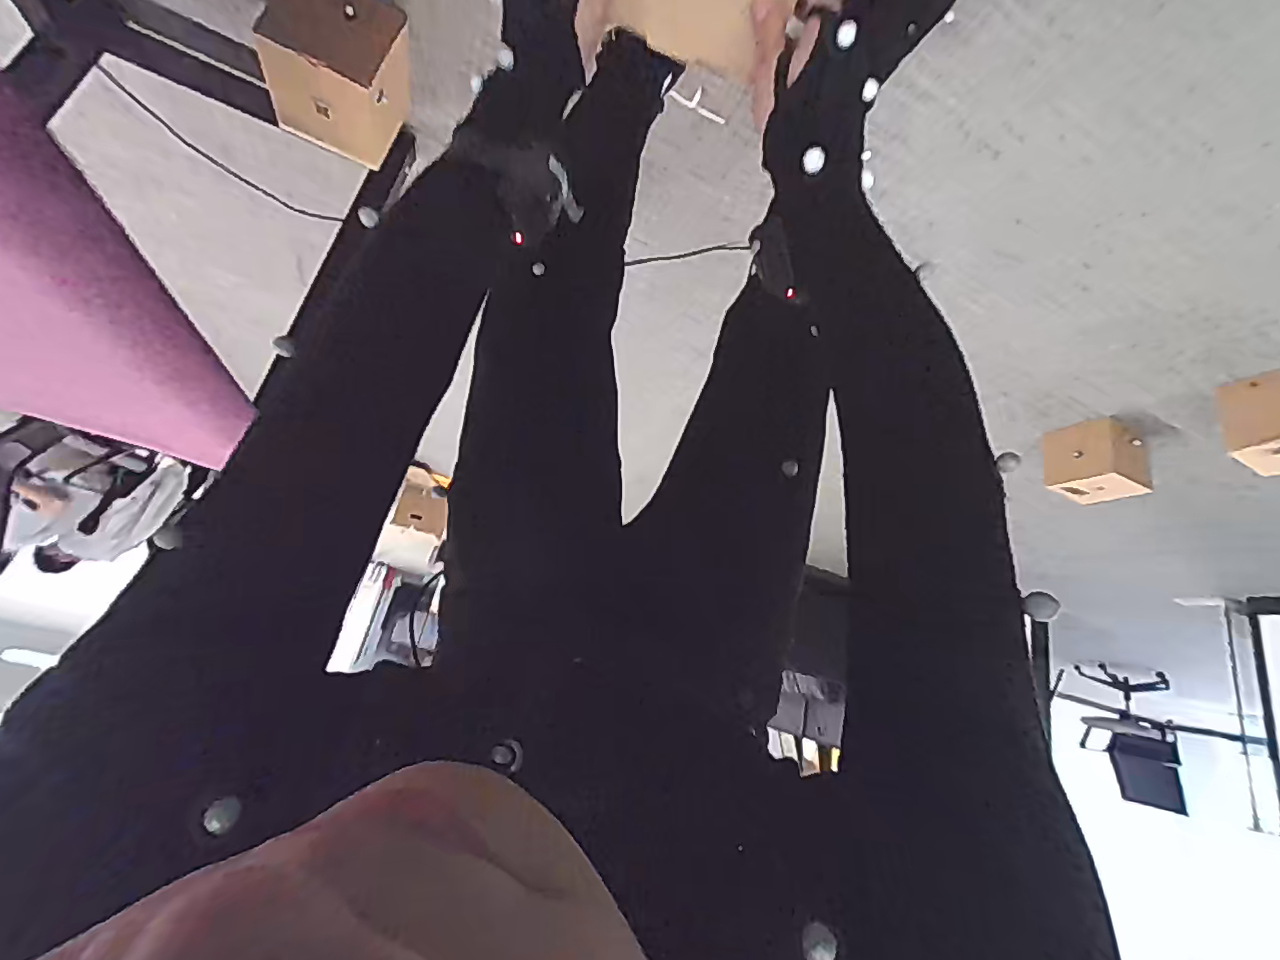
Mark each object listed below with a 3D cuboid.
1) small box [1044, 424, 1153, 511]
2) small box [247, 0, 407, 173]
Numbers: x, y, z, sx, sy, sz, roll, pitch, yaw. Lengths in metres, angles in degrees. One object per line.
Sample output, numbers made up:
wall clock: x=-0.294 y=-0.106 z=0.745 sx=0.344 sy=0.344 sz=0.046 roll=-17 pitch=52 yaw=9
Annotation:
small box: x=1.255 y=-0.031 z=1.486 sx=0.168 sy=0.176 sz=0.179 roll=19 pitch=160 yaw=-17
small box: x=-0.499 y=-0.668 z=0.895 sx=0.168 sy=0.176 sz=0.179 roll=19 pitch=160 yaw=-16
